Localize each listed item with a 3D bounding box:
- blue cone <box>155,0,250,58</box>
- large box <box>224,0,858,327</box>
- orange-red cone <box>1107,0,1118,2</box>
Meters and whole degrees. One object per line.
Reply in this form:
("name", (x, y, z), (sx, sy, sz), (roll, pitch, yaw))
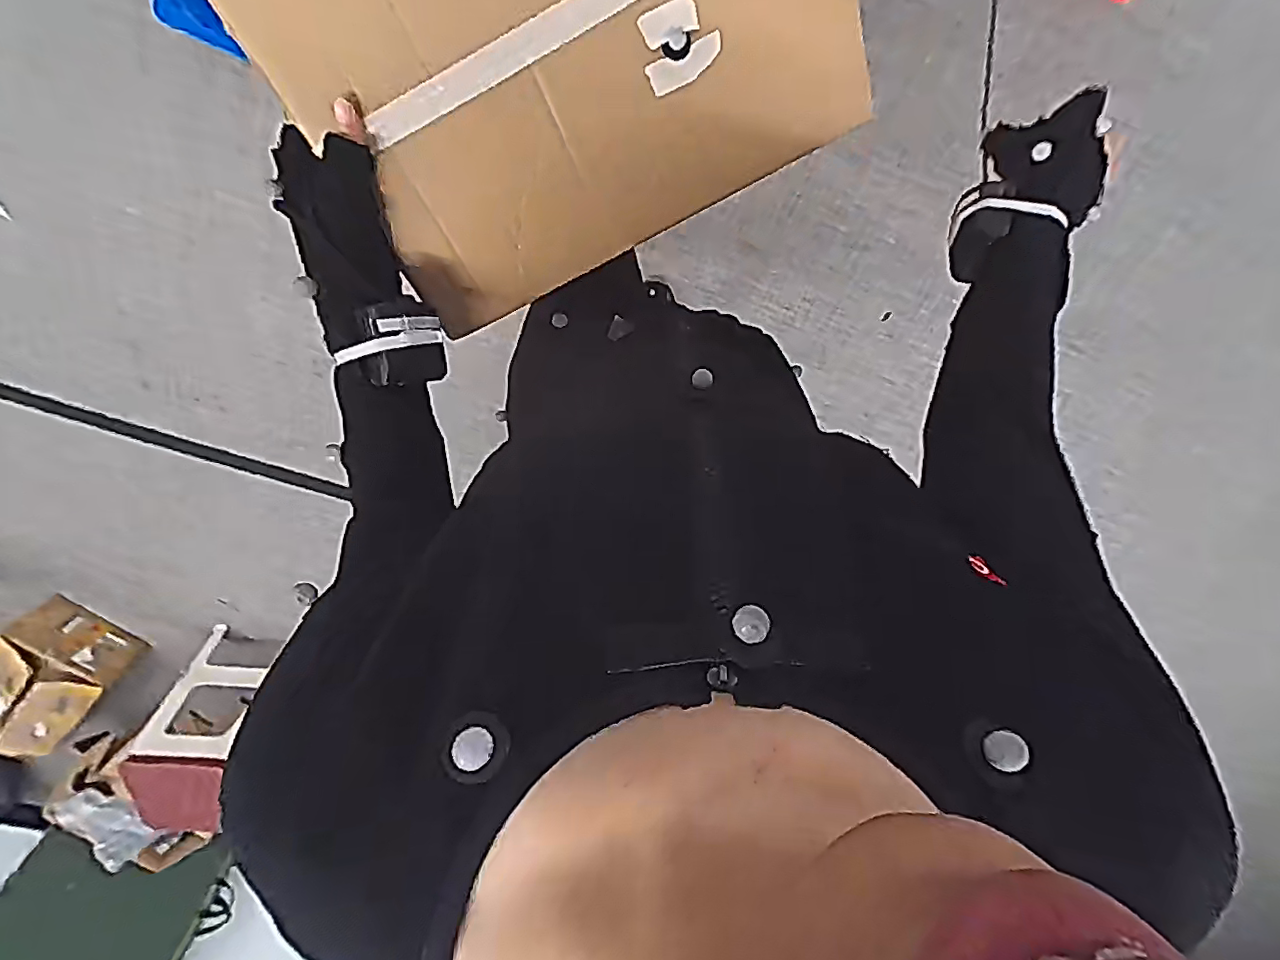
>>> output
("blue cone", (-0.867, -0.903, 0.926), (0.192, 0.380, 0.193), (22, 114, -10))
("large box", (-0.083, -0.409, 0.509), (0.408, 0.320, 0.320), (-27, 124, 4))
("orange-red cone", (0.919, -0.995, 0.884), (0.198, 0.360, 0.199), (16, 114, -9))
